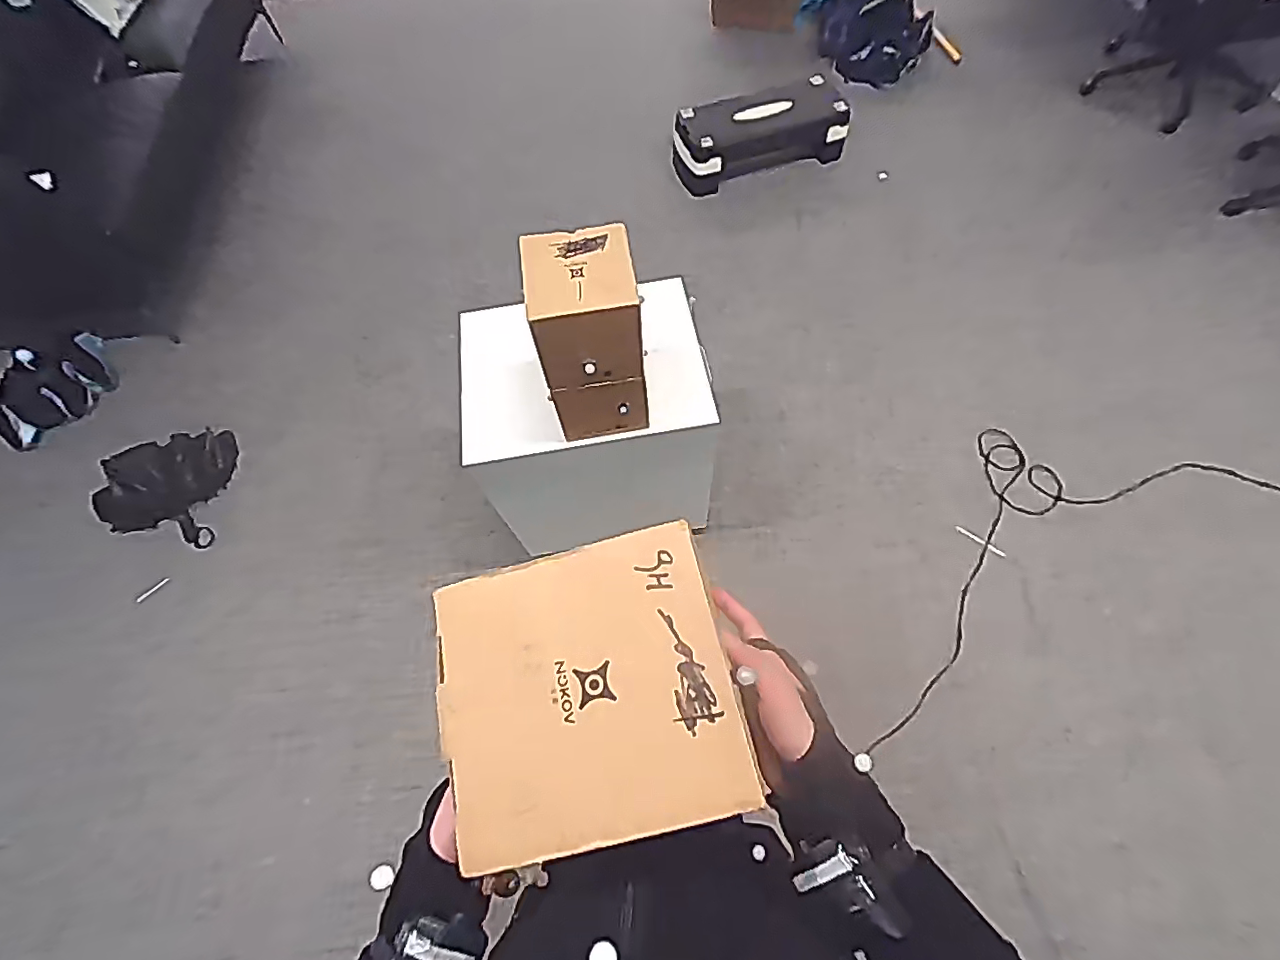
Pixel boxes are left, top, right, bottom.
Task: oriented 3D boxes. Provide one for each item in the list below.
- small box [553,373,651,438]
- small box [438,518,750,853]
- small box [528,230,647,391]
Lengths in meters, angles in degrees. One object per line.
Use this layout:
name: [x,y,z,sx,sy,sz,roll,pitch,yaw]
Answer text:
small box: [-0.073,-0.194,1.027,0.168,0.176,0.179,-9,61,-2]
small box: [-0.024,0.146,0.402,0.179,0.176,0.168,-15,68,6]
small box: [-0.082,-0.271,0.882,0.168,0.176,0.179,-9,63,-1]
